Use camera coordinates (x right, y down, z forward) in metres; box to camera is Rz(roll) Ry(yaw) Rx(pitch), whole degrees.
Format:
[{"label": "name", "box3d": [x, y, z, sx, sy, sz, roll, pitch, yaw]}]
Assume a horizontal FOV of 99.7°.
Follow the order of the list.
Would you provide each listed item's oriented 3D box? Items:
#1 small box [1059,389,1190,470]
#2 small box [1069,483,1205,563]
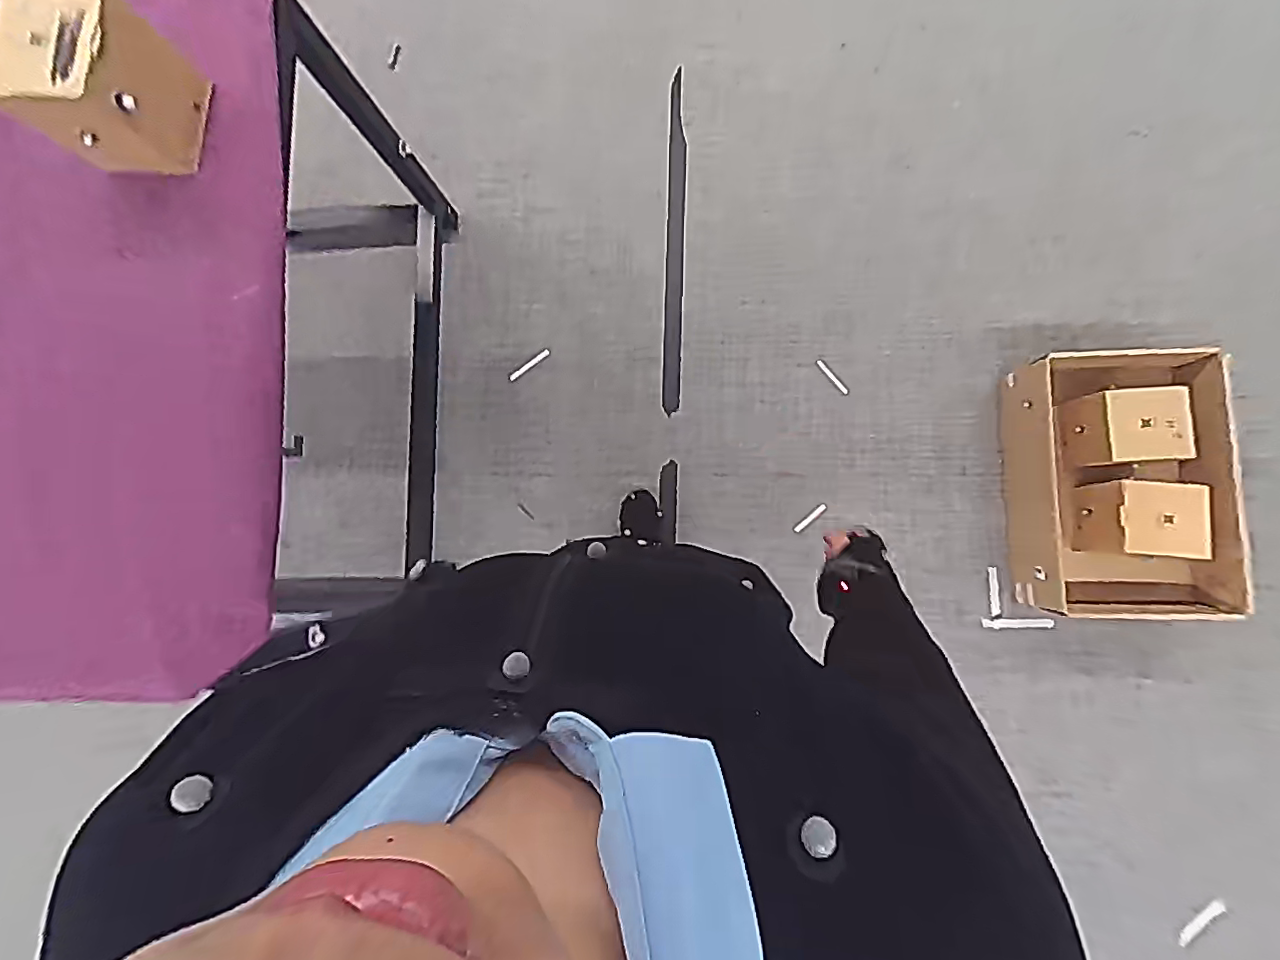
[{"label": "small box", "box3d": [1.150, -0.115, 1.302, 0.179, 0.176, 0.168, -2, 86, 5]}, {"label": "small box", "box3d": [1.171, 0.101, 1.282, 0.179, 0.176, 0.168, 5, 84, 6]}]
